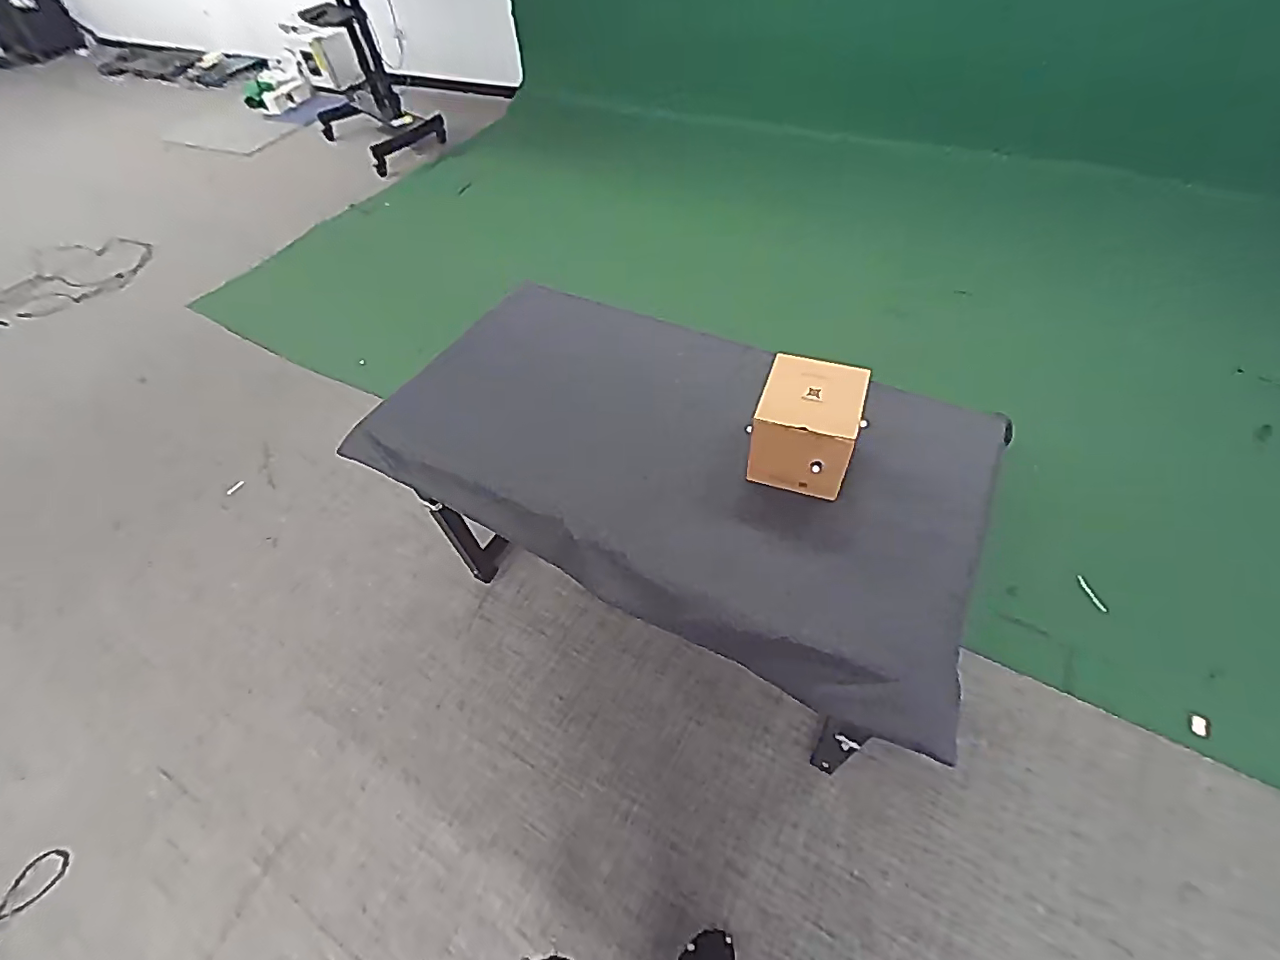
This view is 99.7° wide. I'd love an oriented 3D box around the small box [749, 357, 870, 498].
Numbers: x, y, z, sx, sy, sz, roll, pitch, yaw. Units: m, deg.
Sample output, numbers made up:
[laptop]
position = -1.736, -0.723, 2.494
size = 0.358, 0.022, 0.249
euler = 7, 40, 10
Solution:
[small box]
position = 0.302, -0.092, 0.986
size = 0.168, 0.176, 0.179
euler = 16, 54, 15
